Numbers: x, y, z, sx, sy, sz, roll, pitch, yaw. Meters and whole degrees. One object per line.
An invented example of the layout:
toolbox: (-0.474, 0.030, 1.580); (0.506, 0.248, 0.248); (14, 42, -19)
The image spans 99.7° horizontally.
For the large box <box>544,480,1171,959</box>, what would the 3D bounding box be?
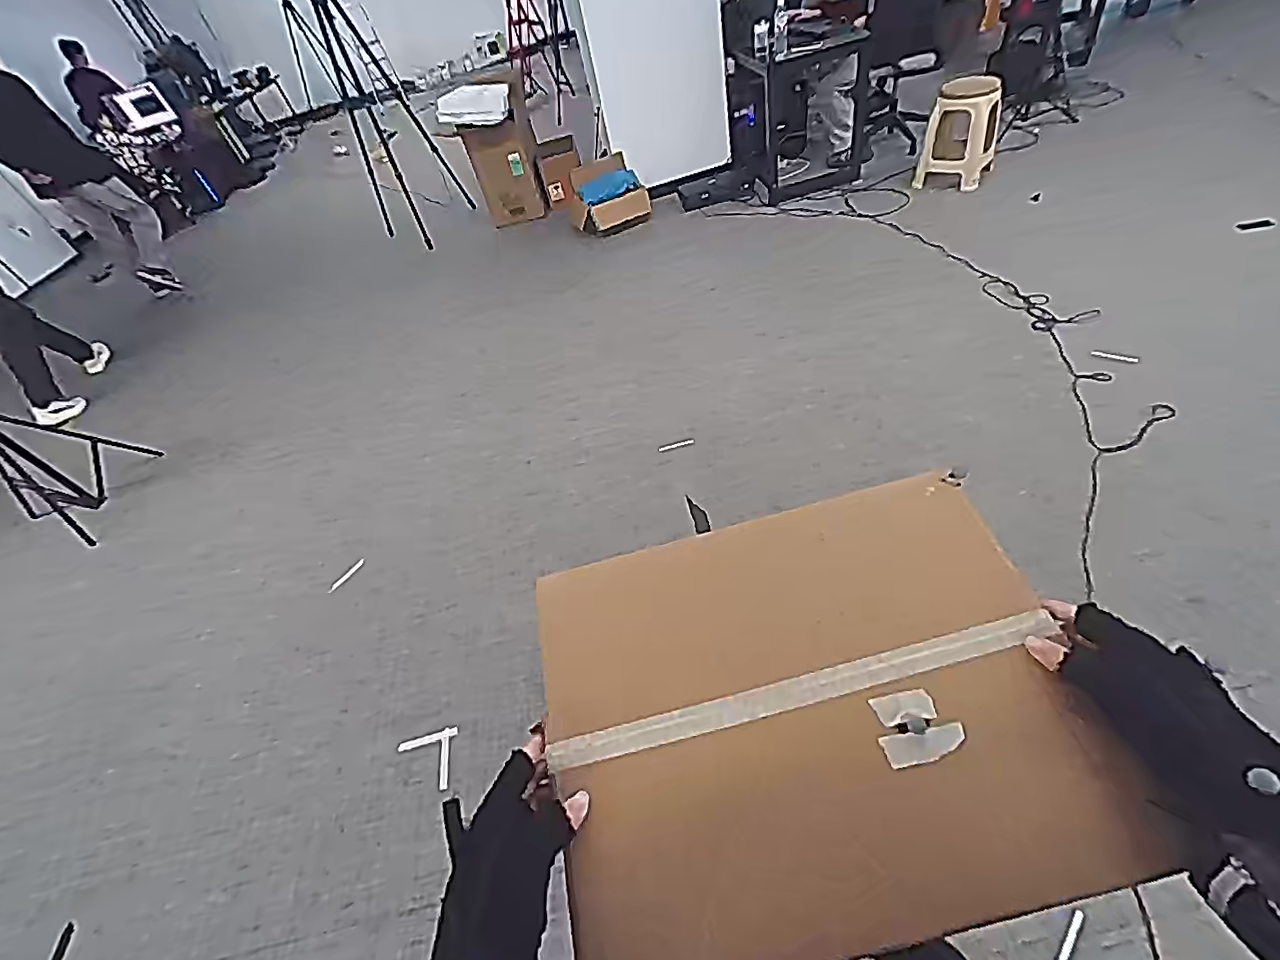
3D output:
large box: (0.151, 0.257, 0.560); (0.408, 0.320, 0.320); (-16, 55, 0)
